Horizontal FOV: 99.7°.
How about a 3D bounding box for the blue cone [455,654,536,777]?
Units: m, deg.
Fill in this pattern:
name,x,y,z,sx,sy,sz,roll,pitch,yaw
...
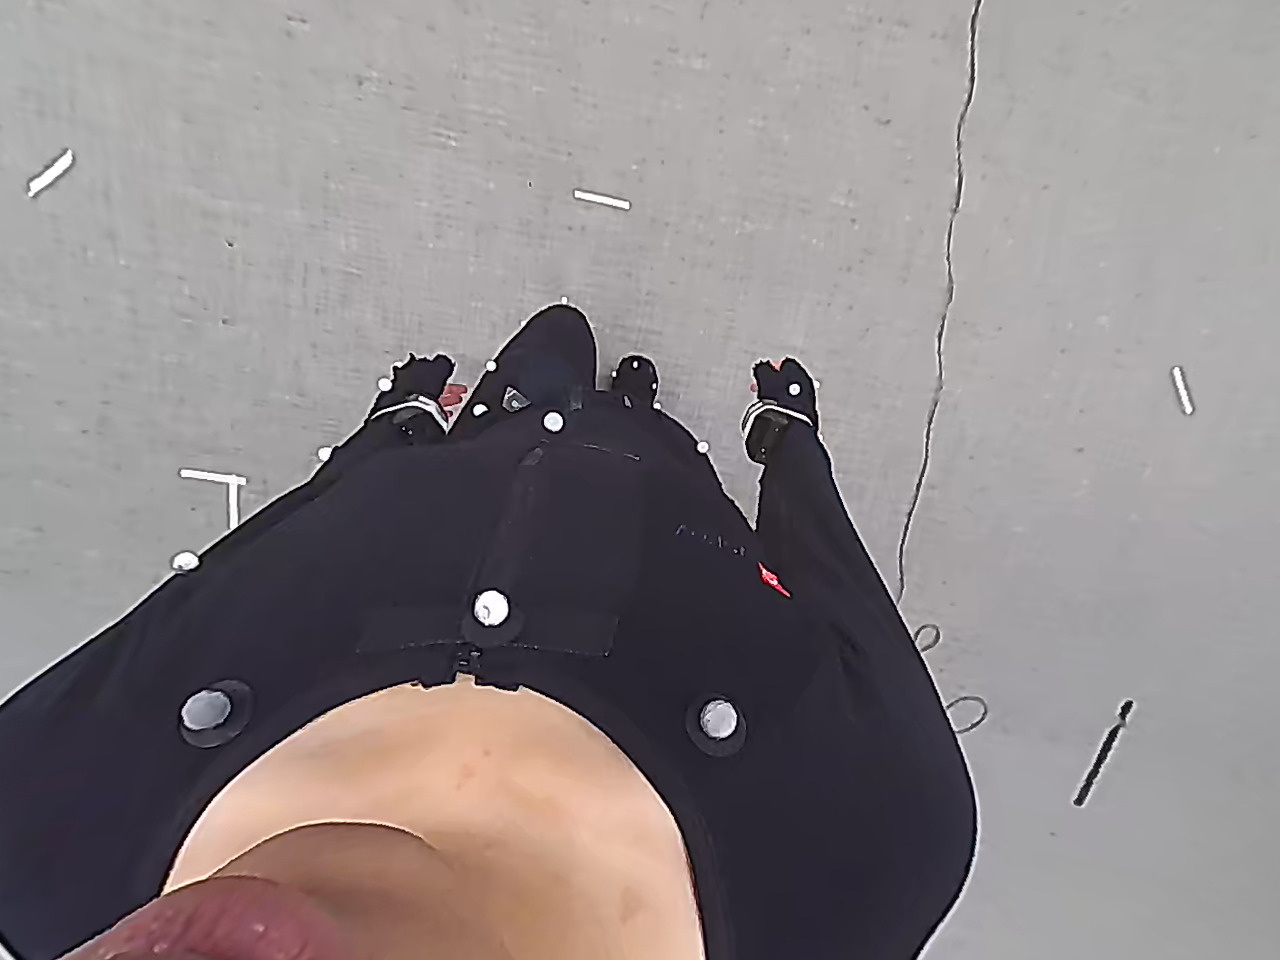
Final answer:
name,x,y,z,sx,sy,sz,roll,pitch,yaw
blue cone,-0.412,0.650,1.464,0.192,0.380,0.193,8,103,-2
